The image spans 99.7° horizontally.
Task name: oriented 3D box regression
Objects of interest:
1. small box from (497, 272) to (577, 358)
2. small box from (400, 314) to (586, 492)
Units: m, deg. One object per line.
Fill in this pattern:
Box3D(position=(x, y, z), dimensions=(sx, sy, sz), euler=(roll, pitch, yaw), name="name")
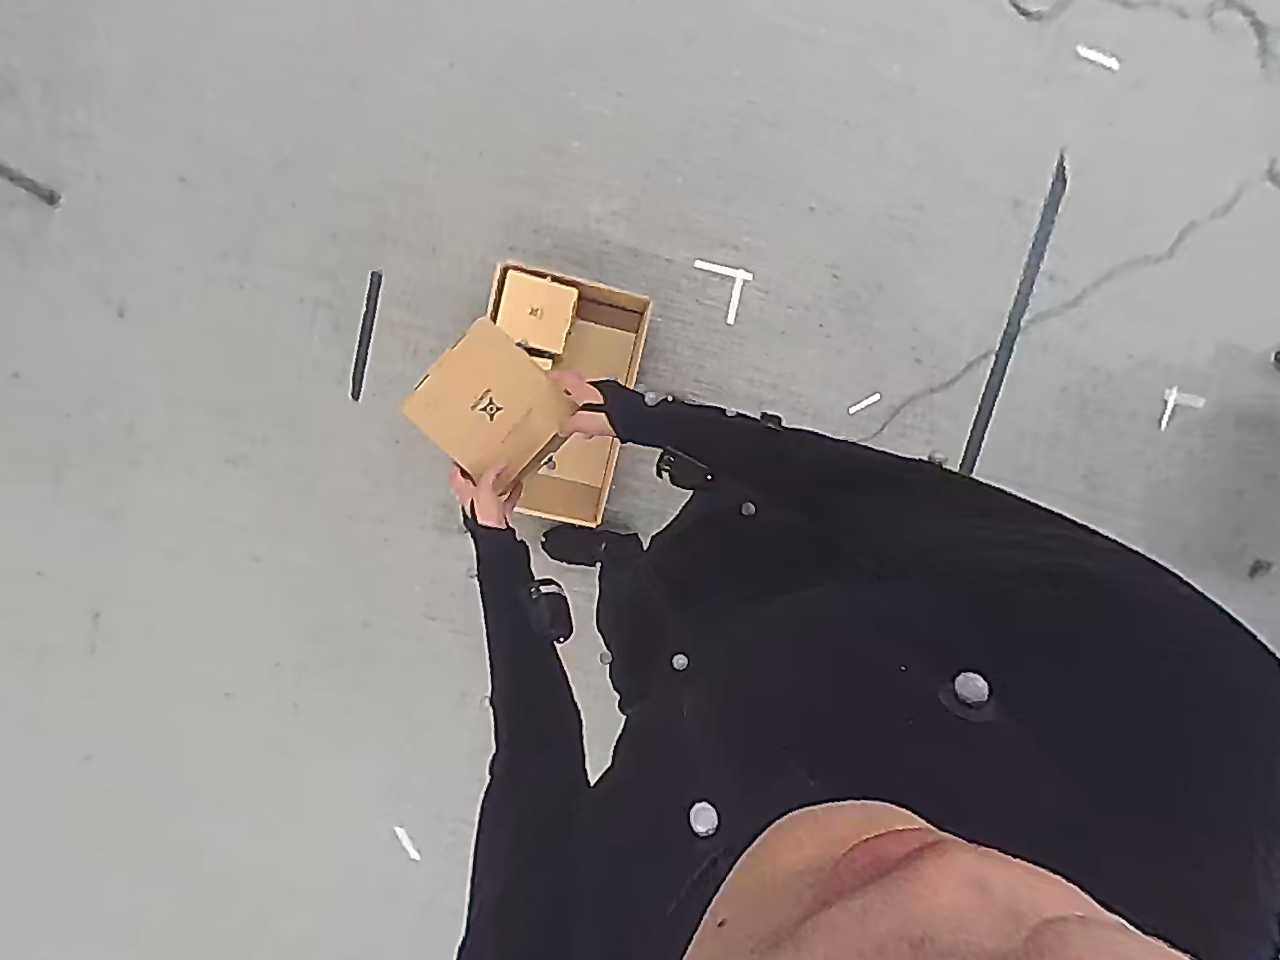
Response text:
Box3D(position=(-0.267, -0.422, 1.415), dimensions=(0.179, 0.176, 0.168), euler=(13, 96, -9), name="small box")
Box3D(position=(-0.196, -0.103, 0.777), dimensions=(0.179, 0.176, 0.168), euler=(43, 93, -4), name="small box")
